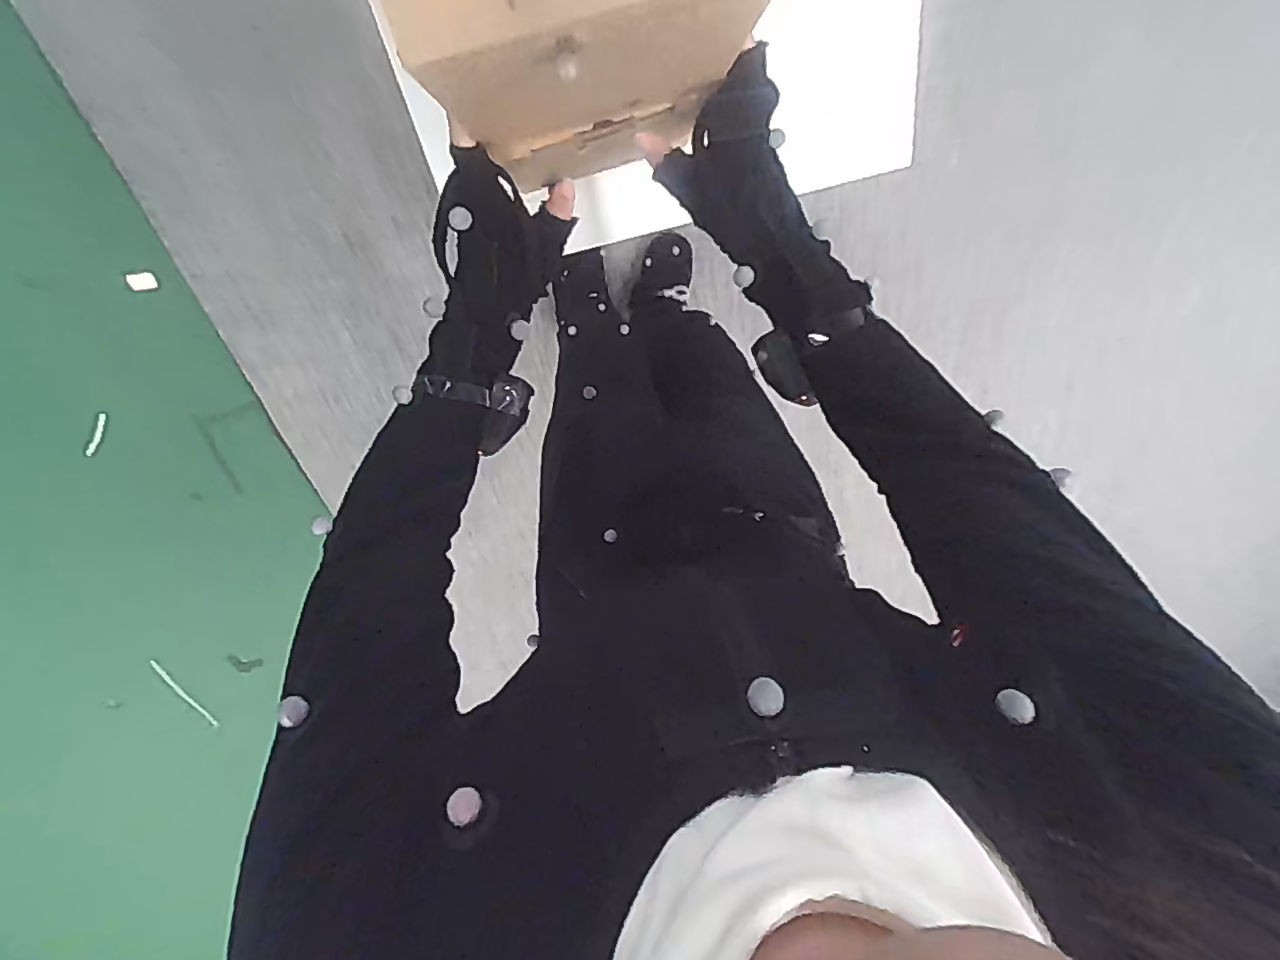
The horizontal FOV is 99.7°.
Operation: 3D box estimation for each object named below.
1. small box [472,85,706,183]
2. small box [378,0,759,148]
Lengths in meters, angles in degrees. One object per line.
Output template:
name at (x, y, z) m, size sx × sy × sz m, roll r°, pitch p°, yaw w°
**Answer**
small box at (-0.055, -0.349, 0.420) m, size 0.168 × 0.176 × 0.179 m, roll -15°, pitch 110°, yaw 3°
small box at (-0.045, -0.296, 0.265) m, size 0.168 × 0.176 × 0.179 m, roll -14°, pitch 111°, yaw 2°
